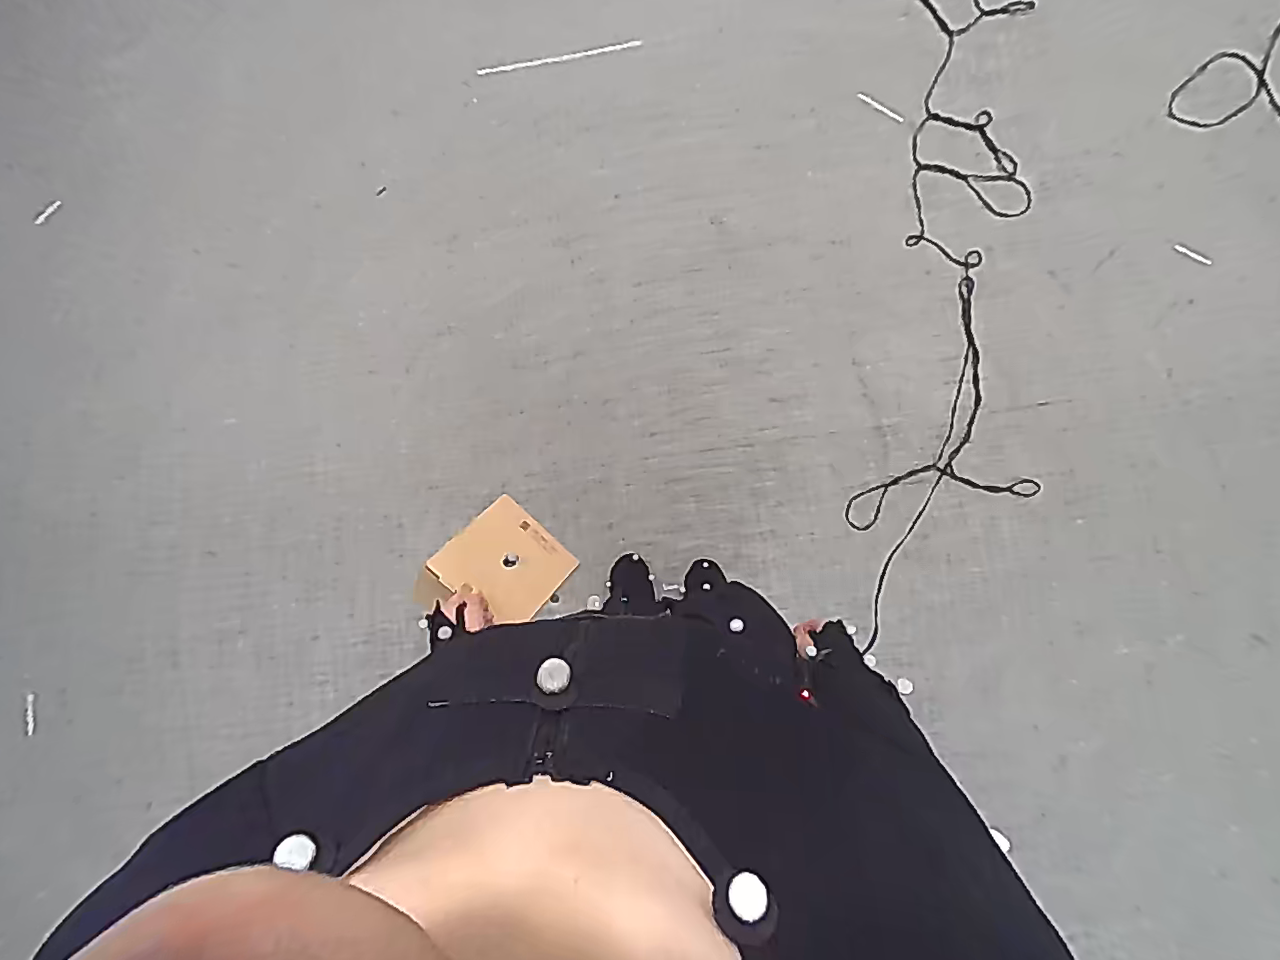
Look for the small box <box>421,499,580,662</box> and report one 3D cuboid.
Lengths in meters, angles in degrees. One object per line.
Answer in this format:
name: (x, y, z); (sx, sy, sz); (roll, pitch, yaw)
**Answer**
small box: (-0.221, 0.161, 0.873); (0.168, 0.179, 0.176); (41, 52, -1)
